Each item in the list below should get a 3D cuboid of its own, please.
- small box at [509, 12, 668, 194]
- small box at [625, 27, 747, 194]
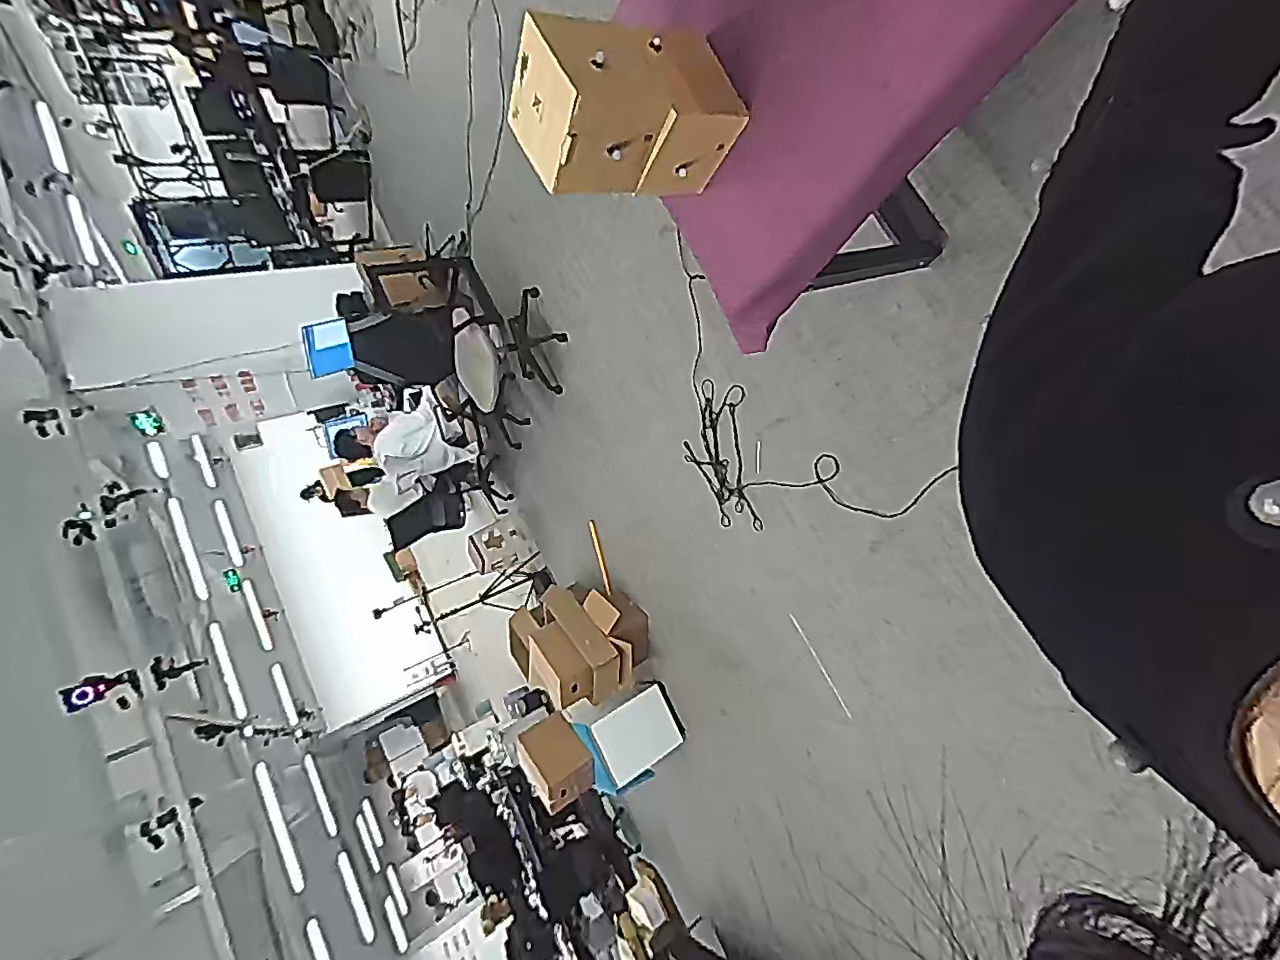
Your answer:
[{"bbox_3d":[-0.082,-0.590,0.856,0.179,0.176,0.168,61,148,13],"label":"small box"},{"bbox_3d":[0.054,-0.634,0.937,0.179,0.176,0.168,64,150,9],"label":"small box"}]
